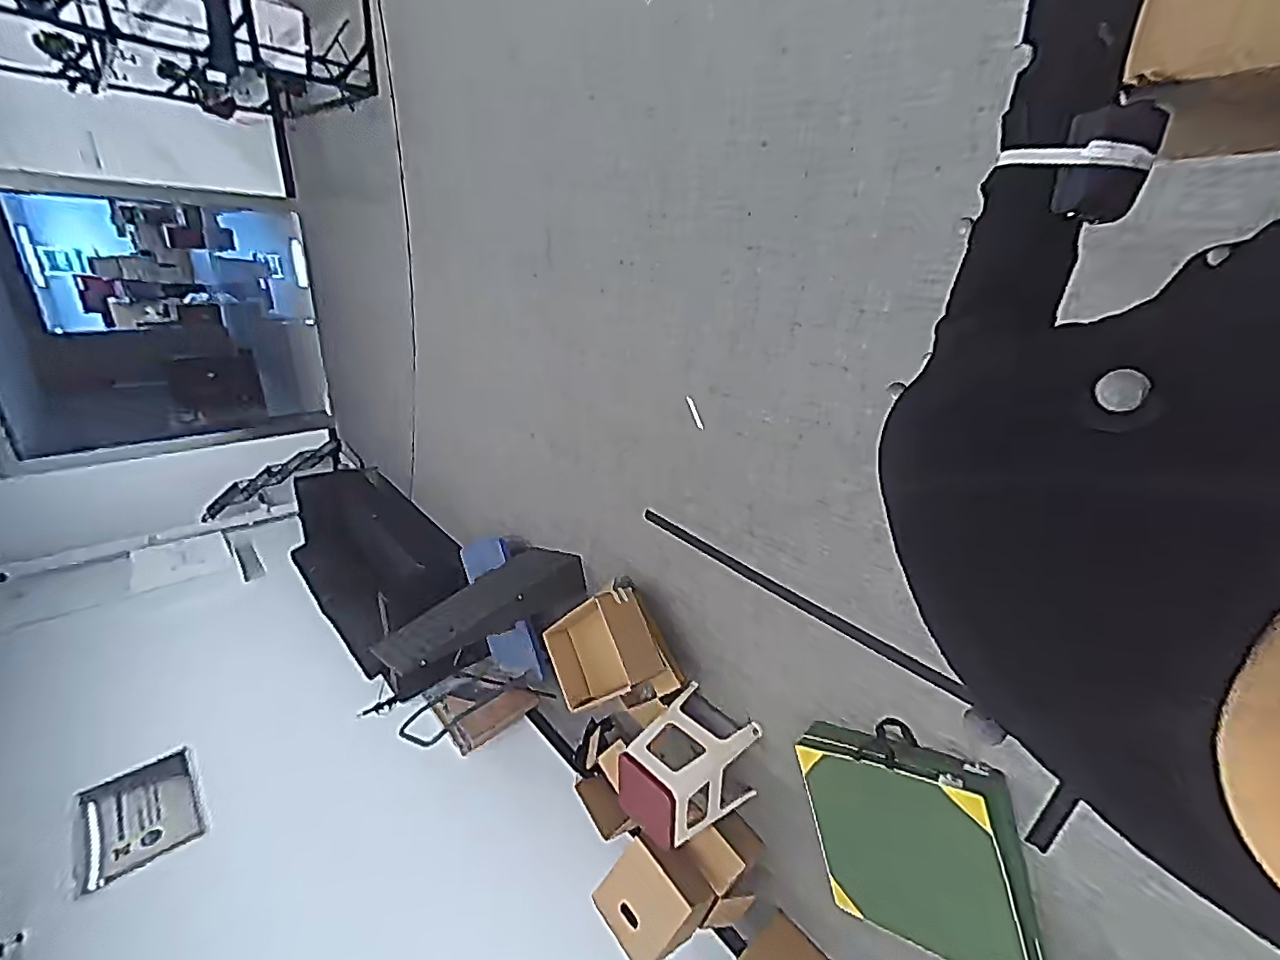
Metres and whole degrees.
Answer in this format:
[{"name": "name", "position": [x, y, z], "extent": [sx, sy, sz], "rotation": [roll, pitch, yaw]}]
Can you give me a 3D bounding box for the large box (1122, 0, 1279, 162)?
[{"name": "large box", "position": [0.563, -0.385, 0.282], "extent": [0.408, 0.320, 0.320], "rotation": [20, 119, 39]}]
